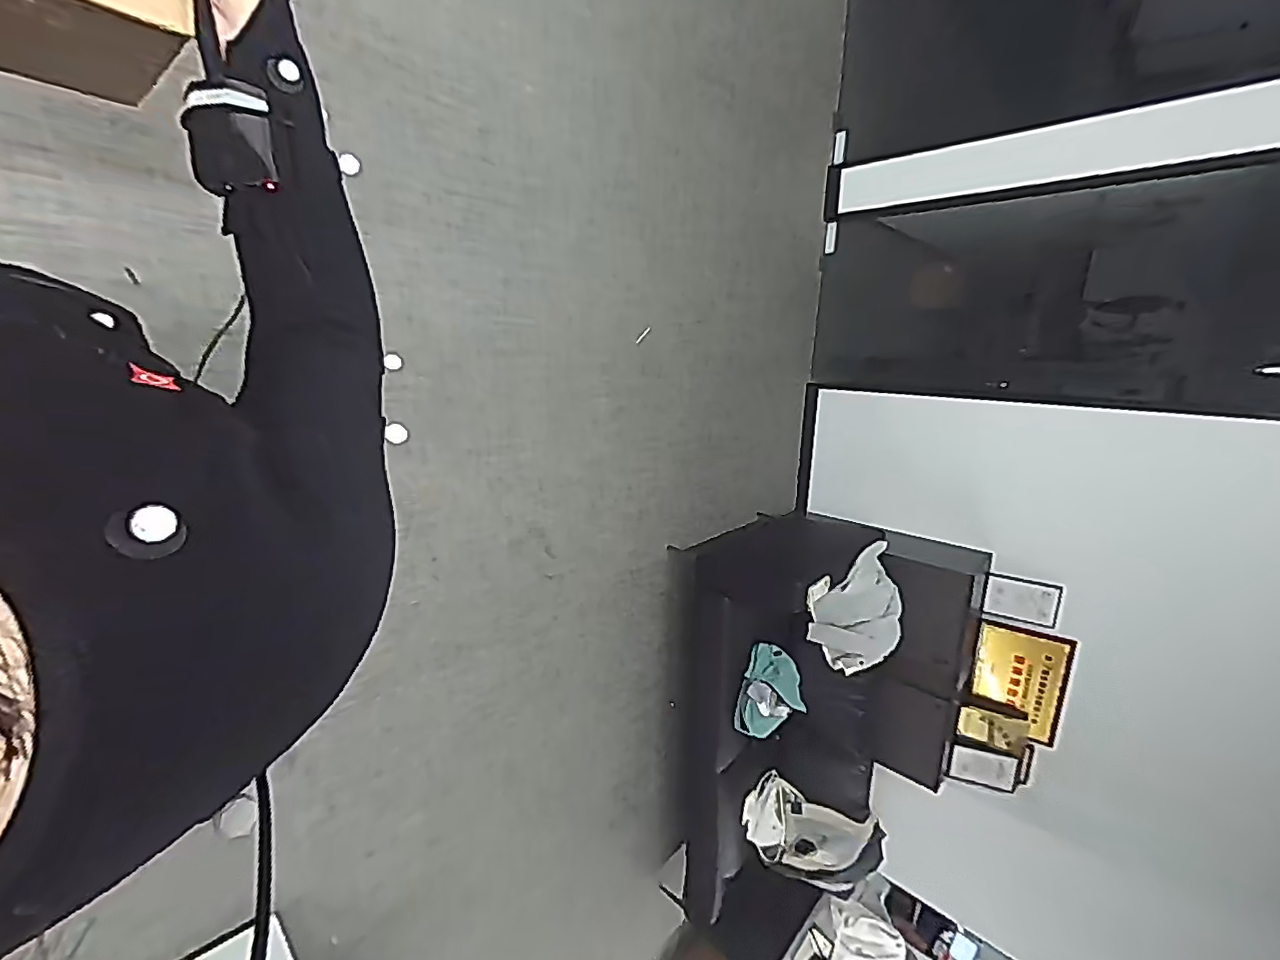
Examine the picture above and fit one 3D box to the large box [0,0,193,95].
[{"bbox_3d":[-0.544,-0.475,0.289,0.408,0.320,0.320,-11,115,-47],"label":"large box"}]
